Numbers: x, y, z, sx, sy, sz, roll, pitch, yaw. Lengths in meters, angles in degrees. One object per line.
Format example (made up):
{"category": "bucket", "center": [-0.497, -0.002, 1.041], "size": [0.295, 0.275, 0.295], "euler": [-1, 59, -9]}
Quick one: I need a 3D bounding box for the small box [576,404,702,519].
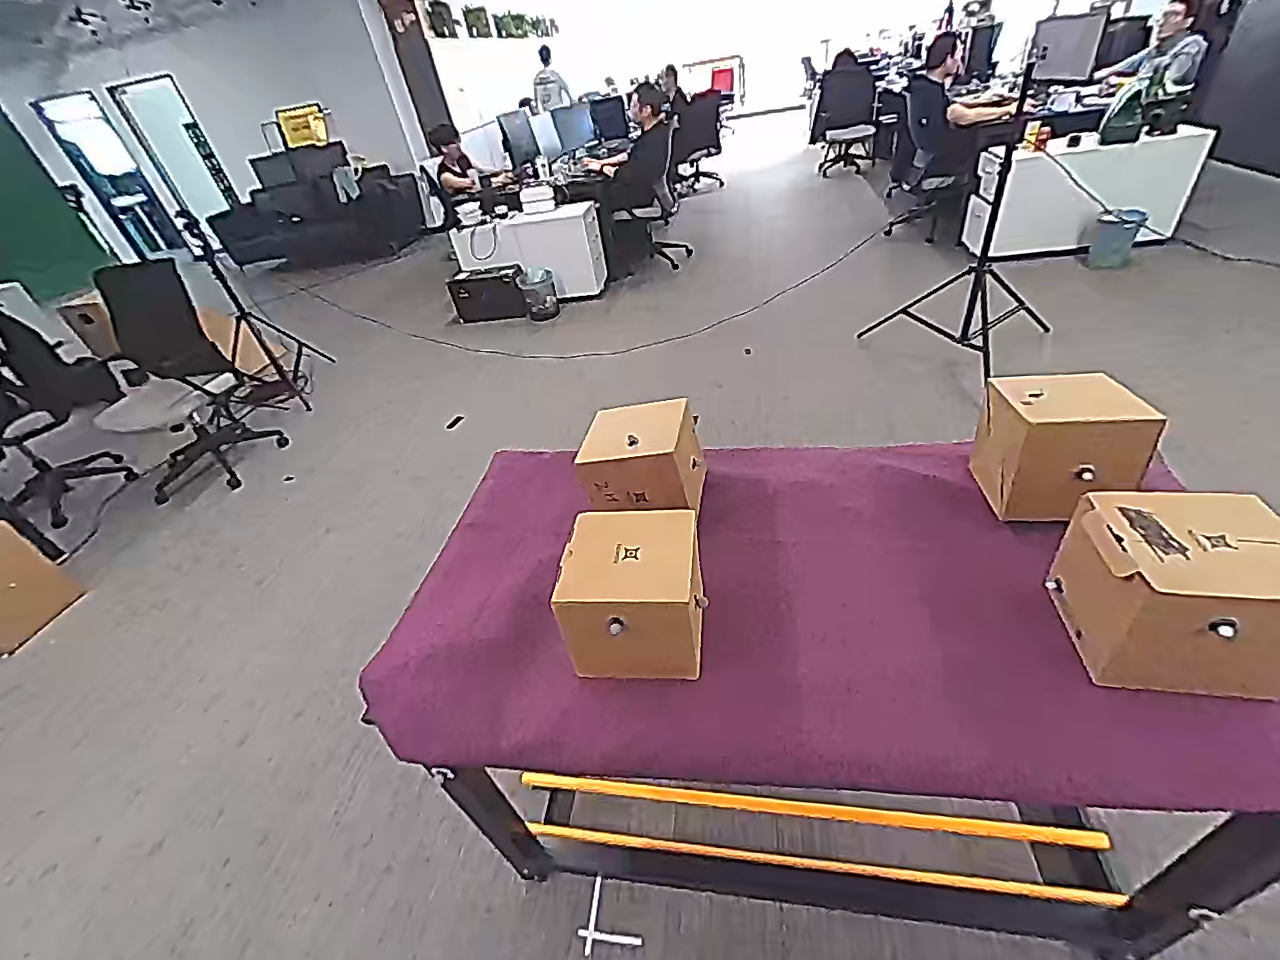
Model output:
{"category": "small box", "center": [0.011, -0.021, 0.968], "size": [0.179, 0.168, 0.176], "euler": [-6, 36, 19]}

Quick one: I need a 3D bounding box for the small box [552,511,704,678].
{"category": "small box", "center": [-0.003, 0.161, 0.761], "size": [0.179, 0.176, 0.168], "euler": [-3, 38, 11]}

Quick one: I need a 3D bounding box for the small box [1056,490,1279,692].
{"category": "small box", "center": [0.631, 0.128, 0.638], "size": [0.179, 0.176, 0.168], "euler": [0, 38, 14]}
